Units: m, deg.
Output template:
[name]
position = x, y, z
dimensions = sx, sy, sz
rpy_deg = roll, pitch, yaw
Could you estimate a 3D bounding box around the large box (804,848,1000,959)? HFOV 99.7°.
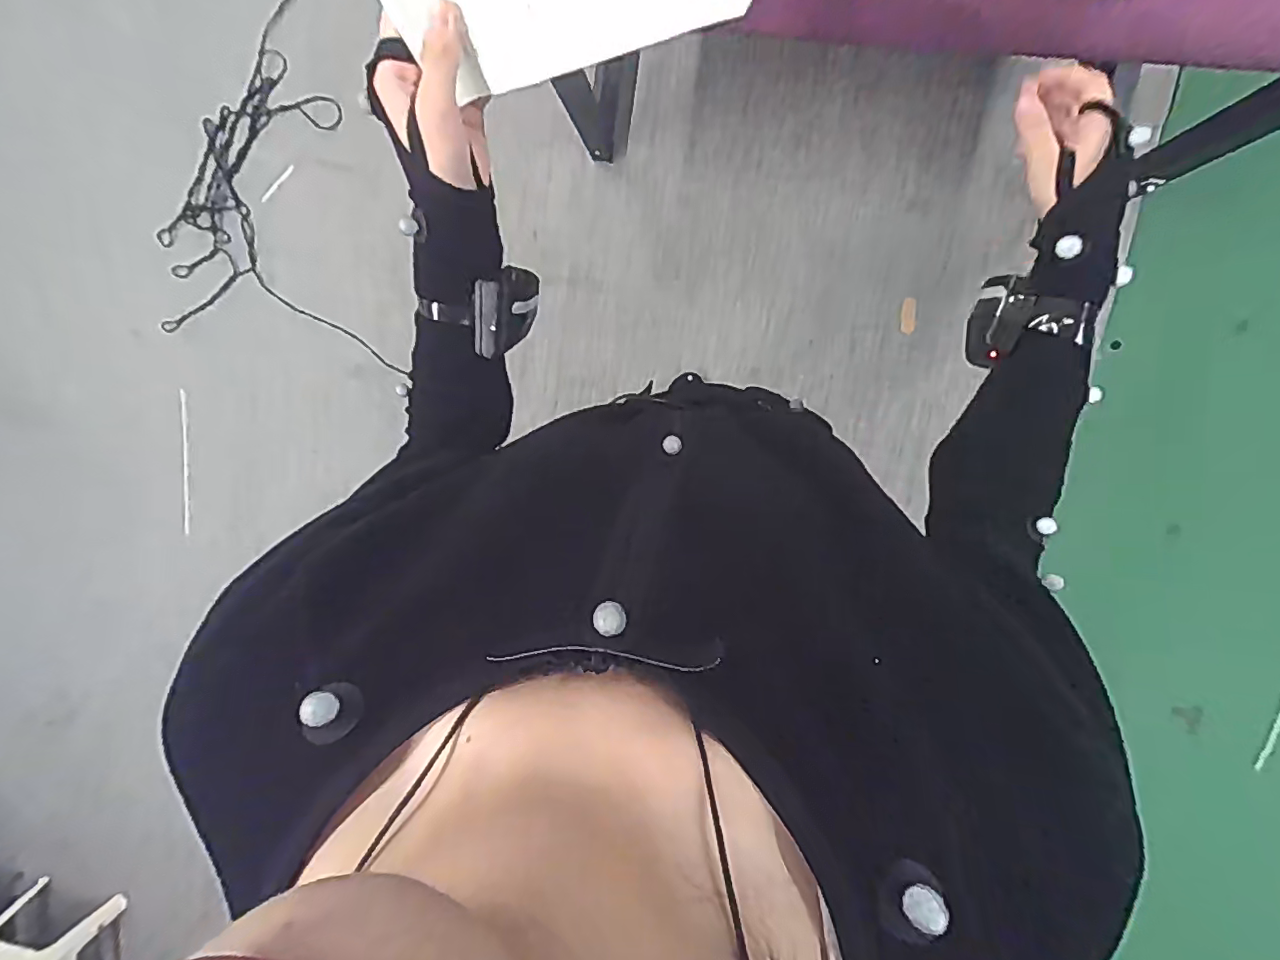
[large box]
position = 0.685, 1.257, 1.467
dimensions = 0.408, 0.320, 0.320
rpy_deg = -4, 99, 7
